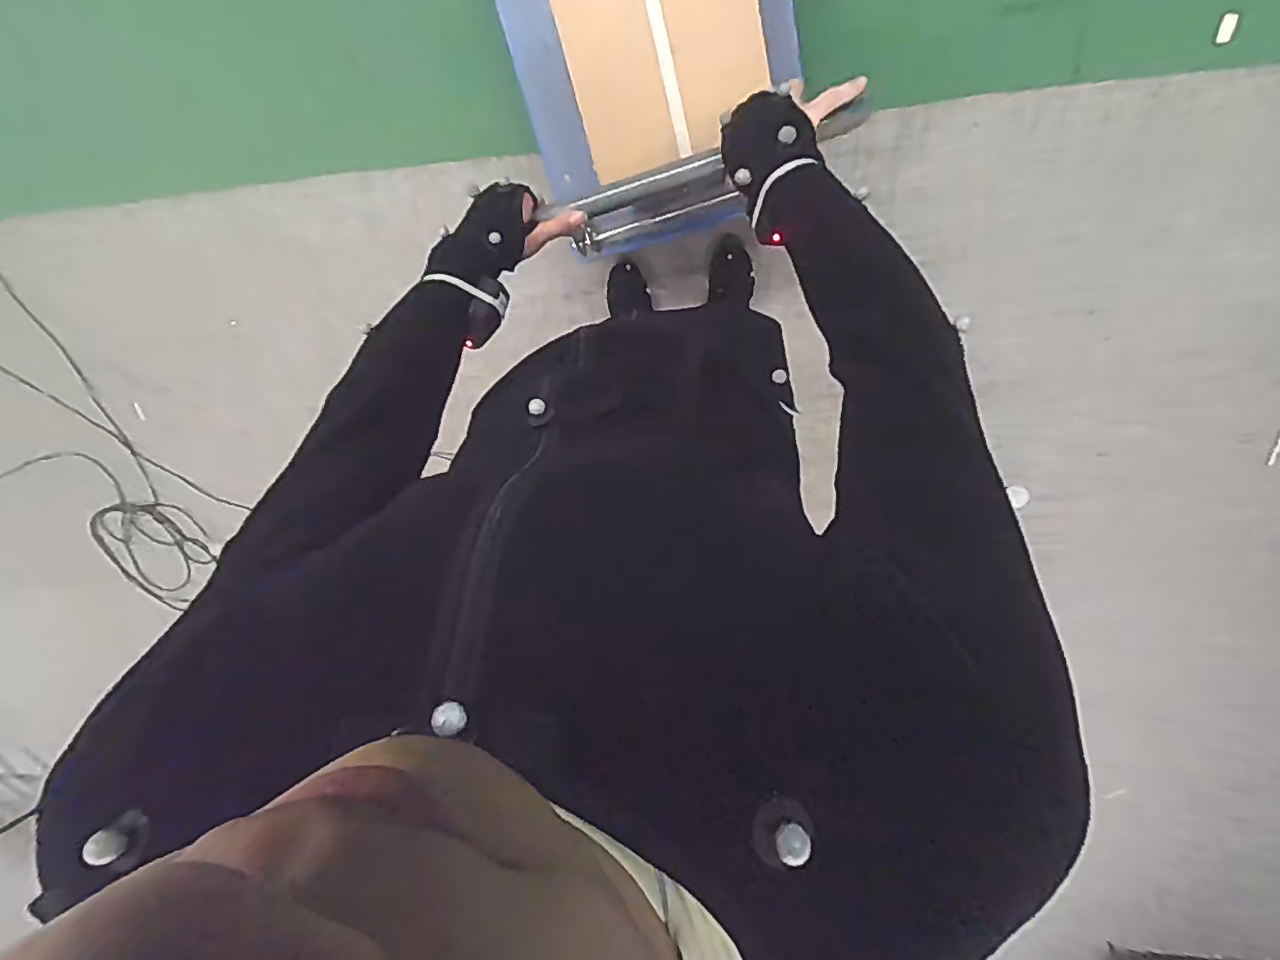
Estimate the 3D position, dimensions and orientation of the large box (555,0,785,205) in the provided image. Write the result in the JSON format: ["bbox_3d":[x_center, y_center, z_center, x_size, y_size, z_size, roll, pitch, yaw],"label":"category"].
[{"bbox_3d":[0.060,-0.765,0.981,0.320,0.320,0.408,-12,112,13],"label":"large box"}]
